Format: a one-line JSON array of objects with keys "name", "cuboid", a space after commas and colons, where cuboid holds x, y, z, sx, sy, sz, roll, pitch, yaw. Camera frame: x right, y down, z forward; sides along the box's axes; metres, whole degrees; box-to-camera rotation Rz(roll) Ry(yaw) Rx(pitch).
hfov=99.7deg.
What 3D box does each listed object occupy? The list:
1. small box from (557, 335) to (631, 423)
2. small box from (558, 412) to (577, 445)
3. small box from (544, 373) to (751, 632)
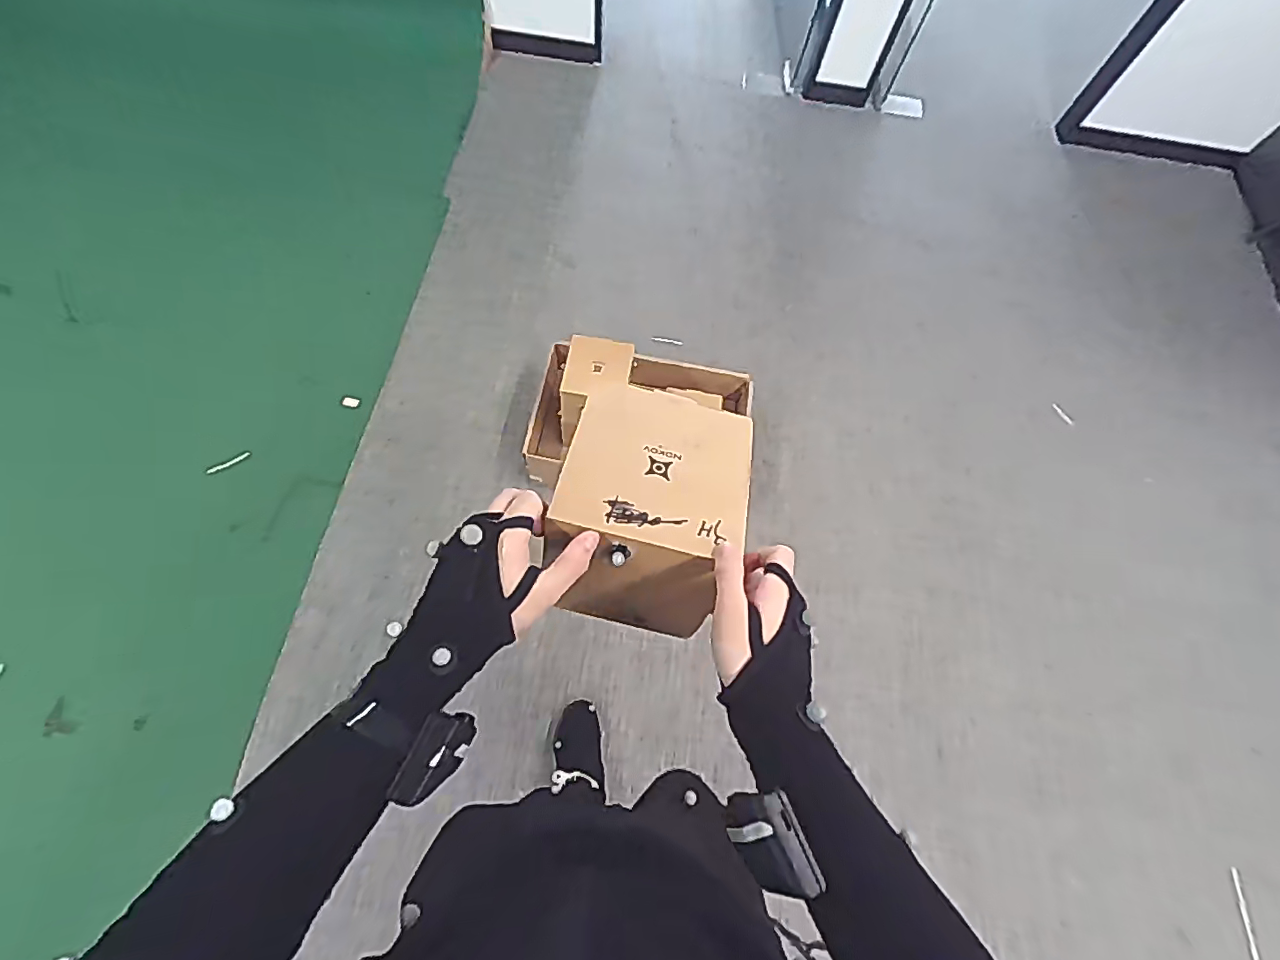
[{"name": "small box", "cuboid": [-0.120, -0.253, 1.441, 0.168, 0.176, 0.179, 9, 67, -2]}, {"name": "small box", "cuboid": [-0.140, -0.193, 1.590, 0.168, 0.176, 0.179, 11, 66, -2]}, {"name": "small box", "cuboid": [0.003, 0.027, 0.549, 0.168, 0.176, 0.179, 15, 52, -1]}]
